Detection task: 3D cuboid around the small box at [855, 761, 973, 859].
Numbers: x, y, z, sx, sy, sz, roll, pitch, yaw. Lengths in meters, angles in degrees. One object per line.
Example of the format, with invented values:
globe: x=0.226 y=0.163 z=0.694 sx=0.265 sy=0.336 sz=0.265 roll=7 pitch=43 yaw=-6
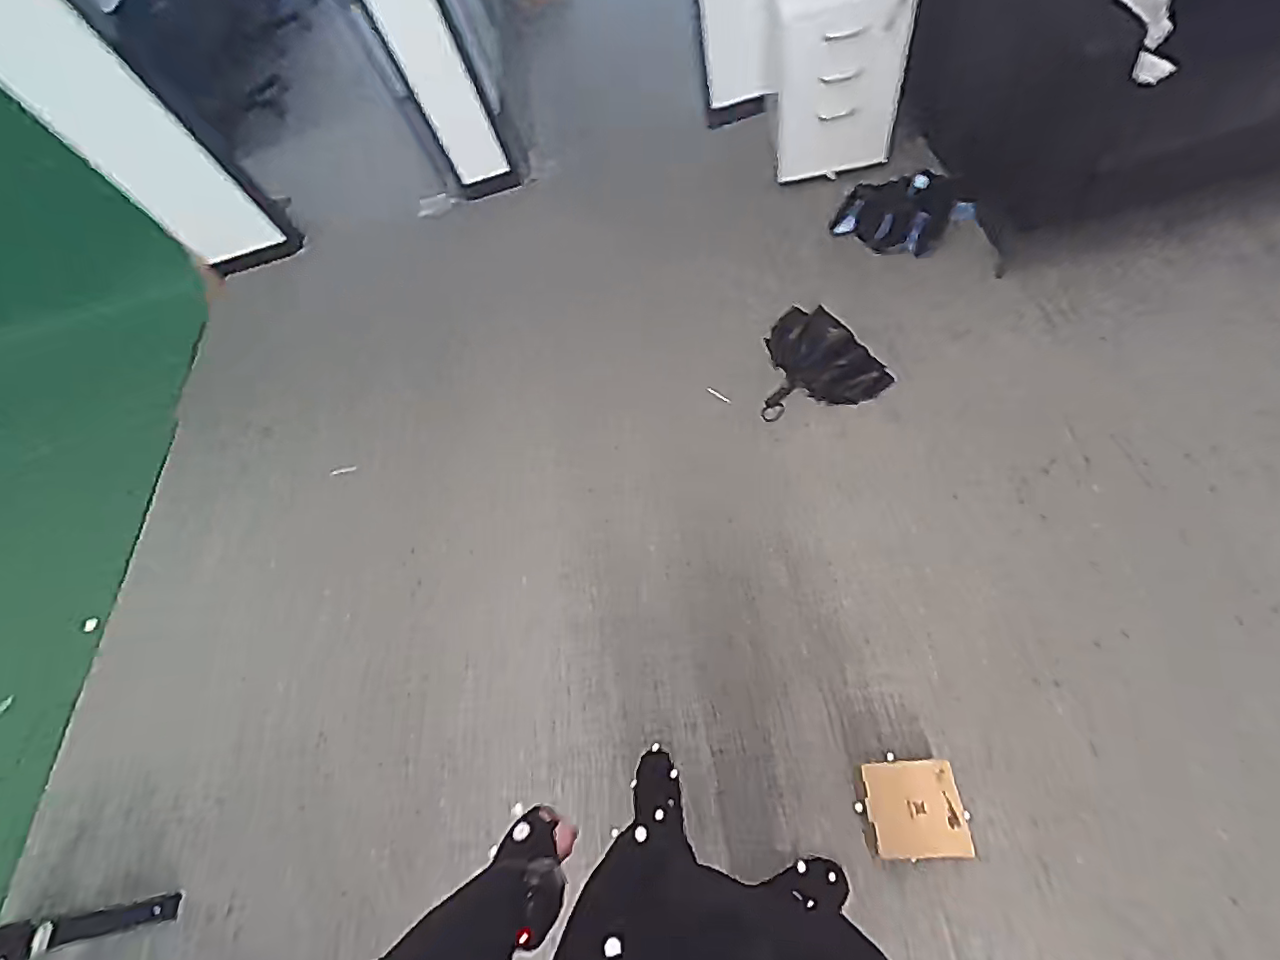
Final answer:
small box: x=0.565 y=0.695 z=1.146 sx=0.179 sy=0.176 sz=0.168 roll=-9 pitch=61 yaw=10
